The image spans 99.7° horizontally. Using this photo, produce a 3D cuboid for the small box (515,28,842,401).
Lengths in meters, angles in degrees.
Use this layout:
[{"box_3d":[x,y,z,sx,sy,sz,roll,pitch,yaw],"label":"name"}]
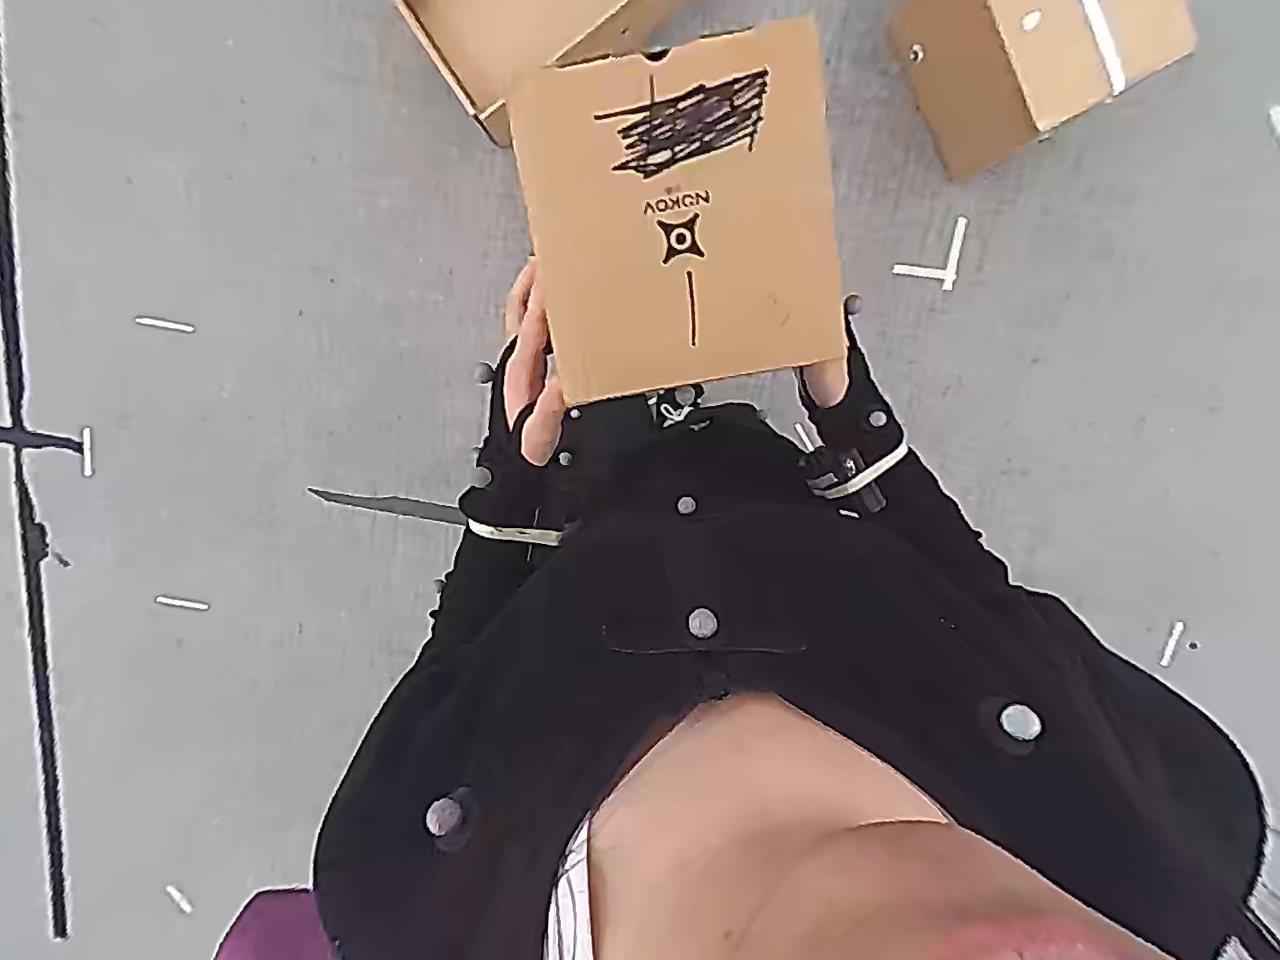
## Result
[{"box_3d":[0.026,-0.156,0.379,0.168,0.176,0.179,-9,101,4],"label":"small box"}]
